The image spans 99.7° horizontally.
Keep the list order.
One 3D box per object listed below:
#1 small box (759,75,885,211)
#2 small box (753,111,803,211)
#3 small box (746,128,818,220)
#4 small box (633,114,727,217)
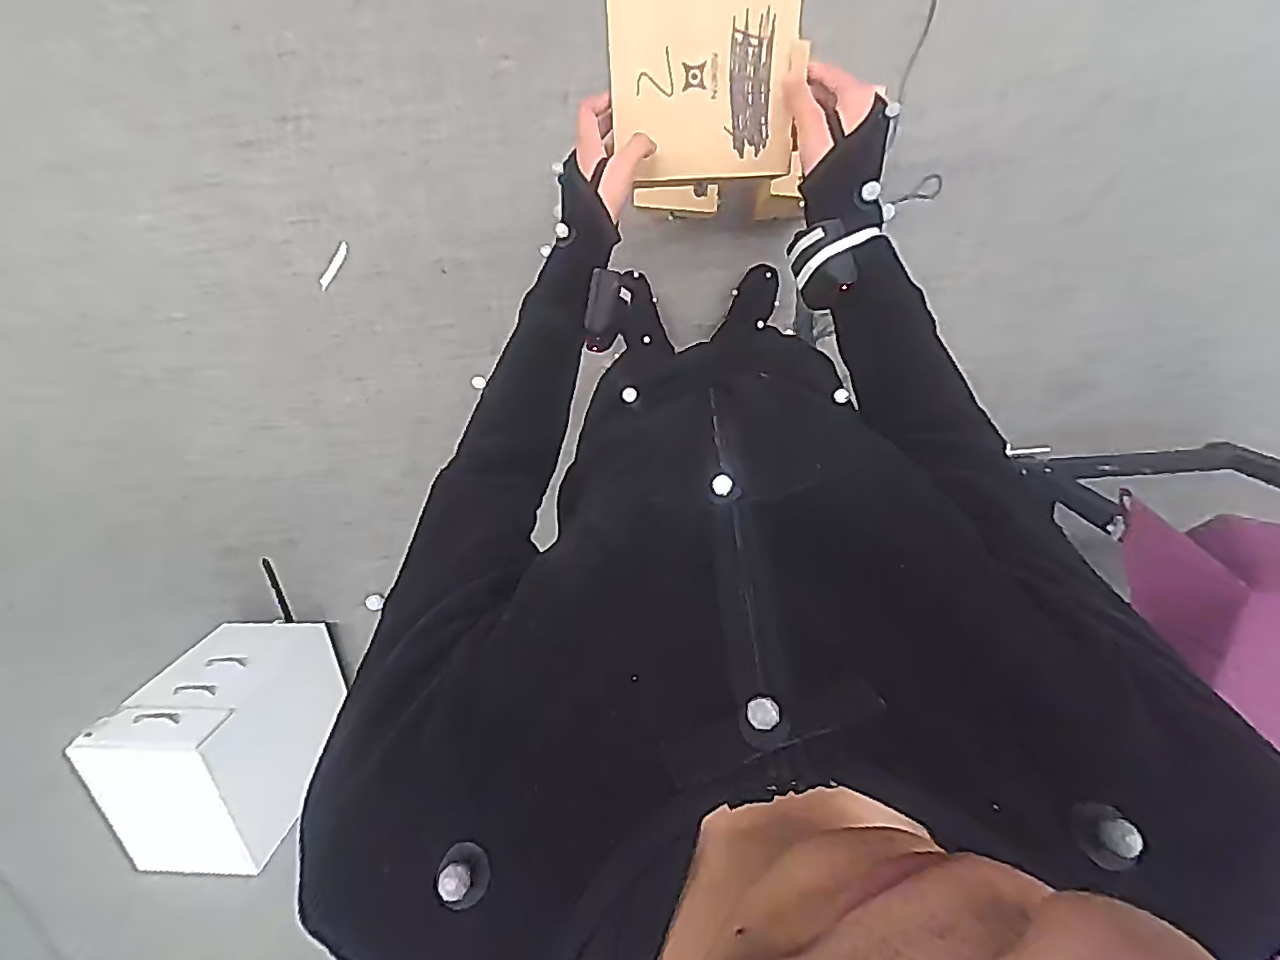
[{"bbox_3d":[0.321,-0.608,0.995,0.168,0.176,0.179,6,111,2],"label":"small box"},{"bbox_3d":[0.336,-0.671,1.147,0.179,0.176,0.168,-1,112,6],"label":"small box"},{"bbox_3d":[0.346,-0.733,1.296,0.168,0.176,0.179,-2,112,6],"label":"small box"},{"bbox_3d":[0.083,-0.667,1.163,0.179,0.176,0.168,6,112,2],"label":"small box"}]
